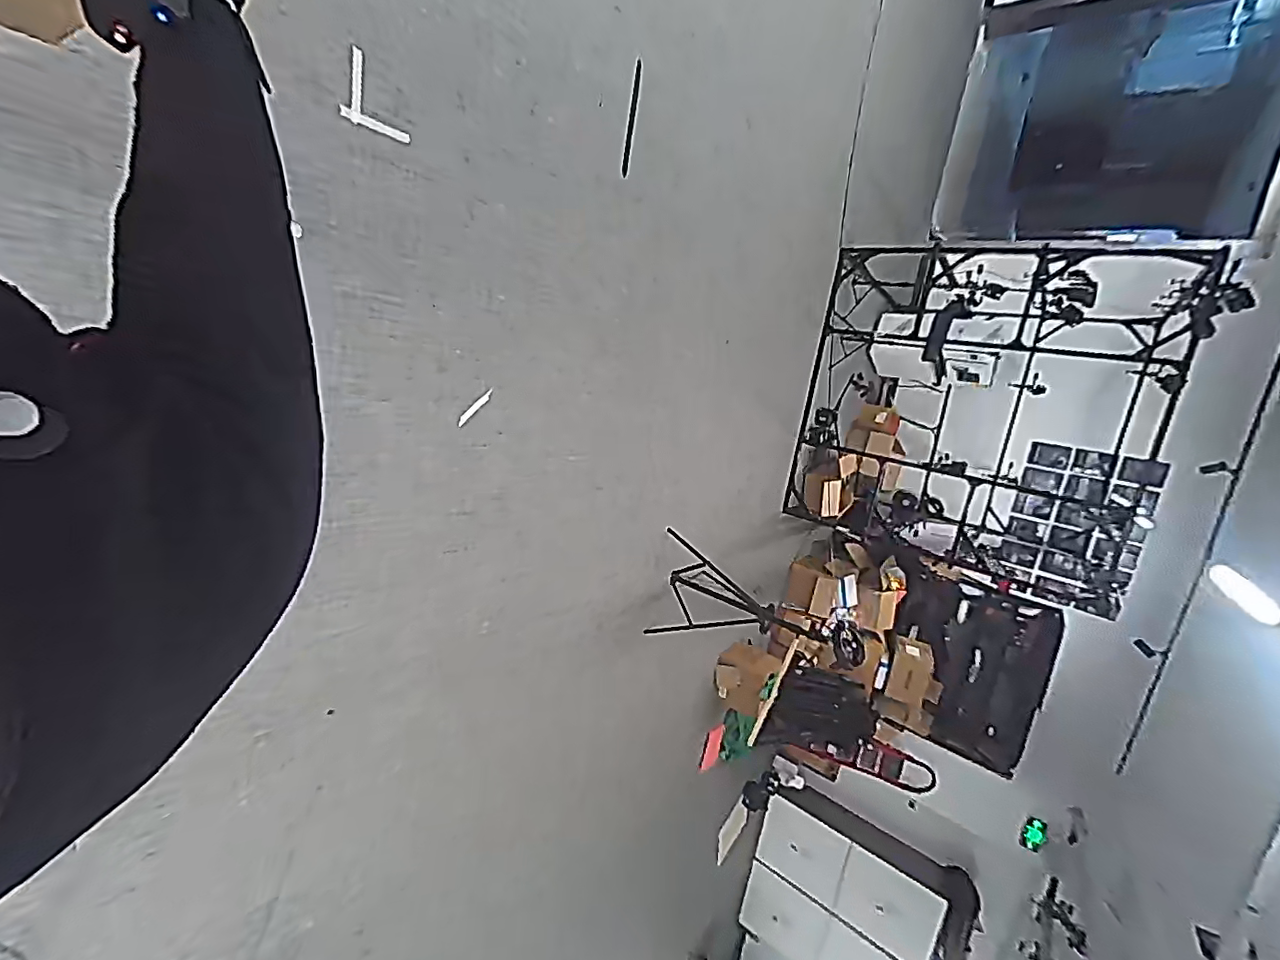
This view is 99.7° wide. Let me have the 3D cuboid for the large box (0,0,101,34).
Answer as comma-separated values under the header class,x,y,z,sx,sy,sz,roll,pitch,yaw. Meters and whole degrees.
class,x,y,z,sx,sy,sz,roll,pitch,yaw
large box,-0.566,-0.531,0.275,0.408,0.320,0.320,-7,115,-54
